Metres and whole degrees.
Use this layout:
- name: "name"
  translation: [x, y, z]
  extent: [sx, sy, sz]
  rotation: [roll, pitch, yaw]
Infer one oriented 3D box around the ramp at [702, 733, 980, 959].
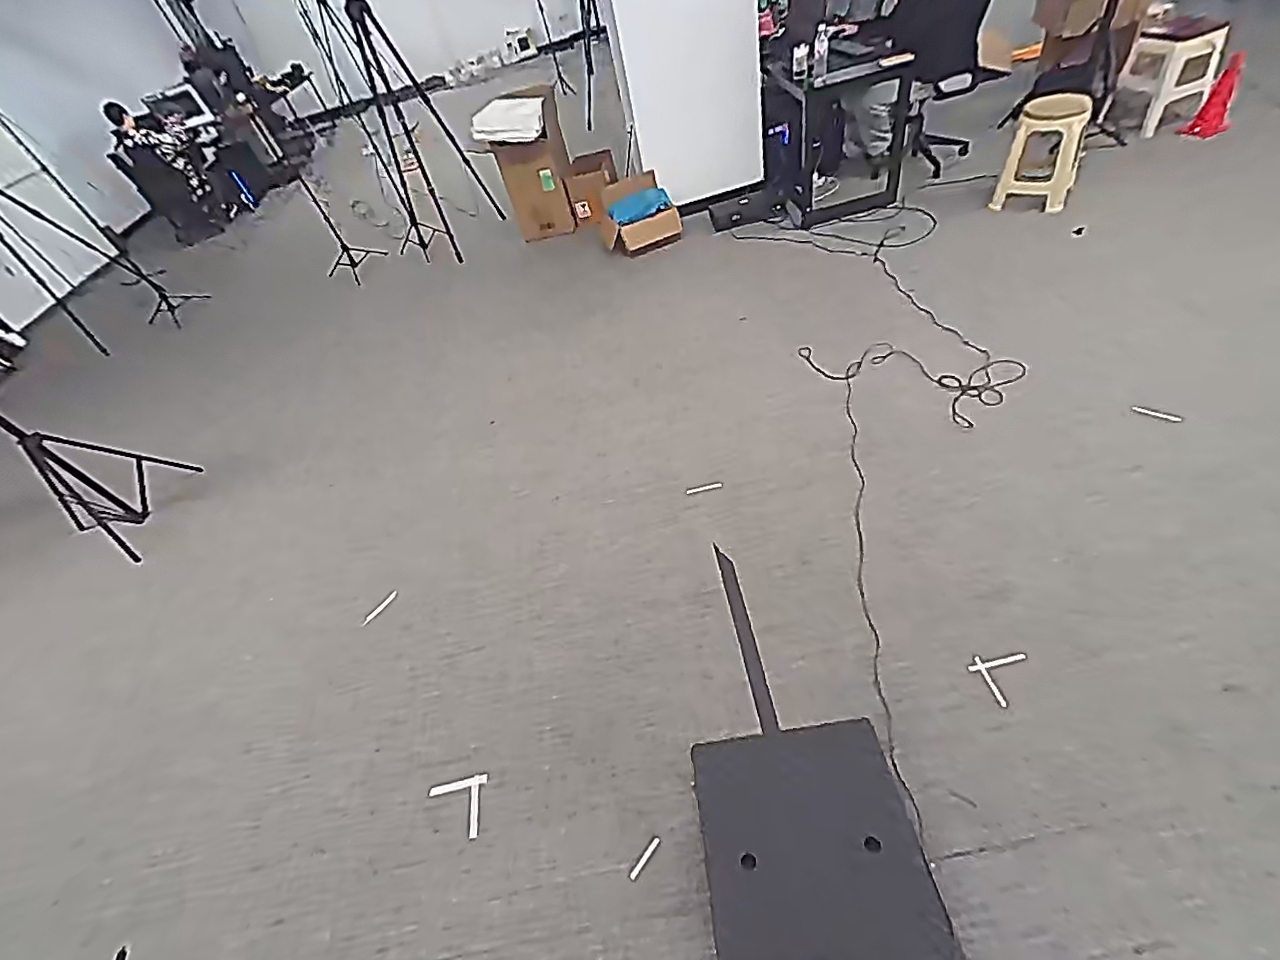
- name: "ramp"
  translation: [0.432, 1.018, 1.061]
  extent: [0.509, 0.206, 0.991]
  rotation: [-16, 44, 5]
